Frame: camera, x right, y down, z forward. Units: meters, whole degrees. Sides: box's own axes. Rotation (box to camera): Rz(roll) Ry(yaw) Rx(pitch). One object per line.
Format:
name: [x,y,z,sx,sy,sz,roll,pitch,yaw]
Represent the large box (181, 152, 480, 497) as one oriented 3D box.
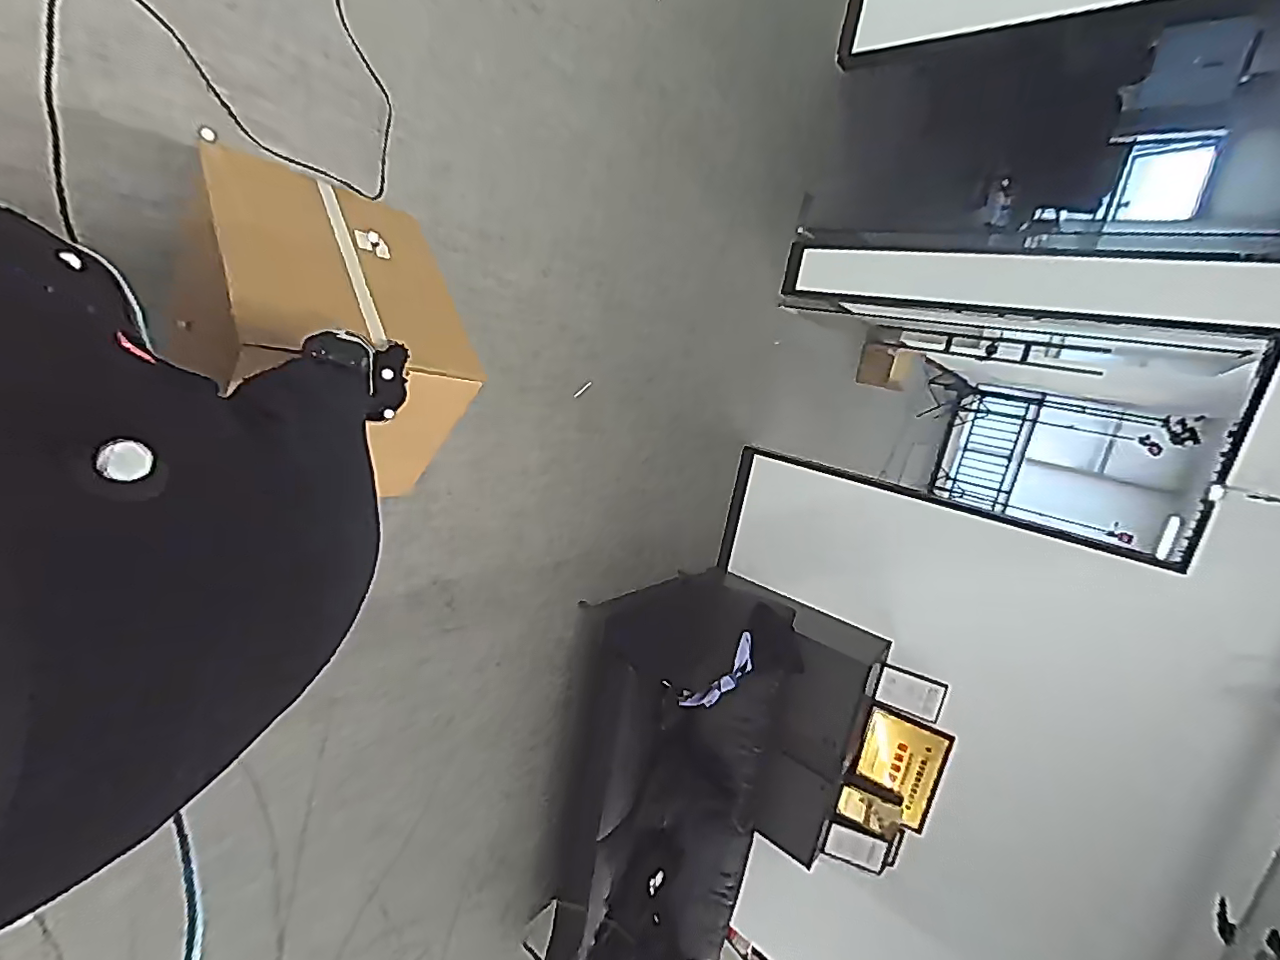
large box: [-0.522,-0.223,0.887,0.320,0.408,0.320,0,144,-48]
